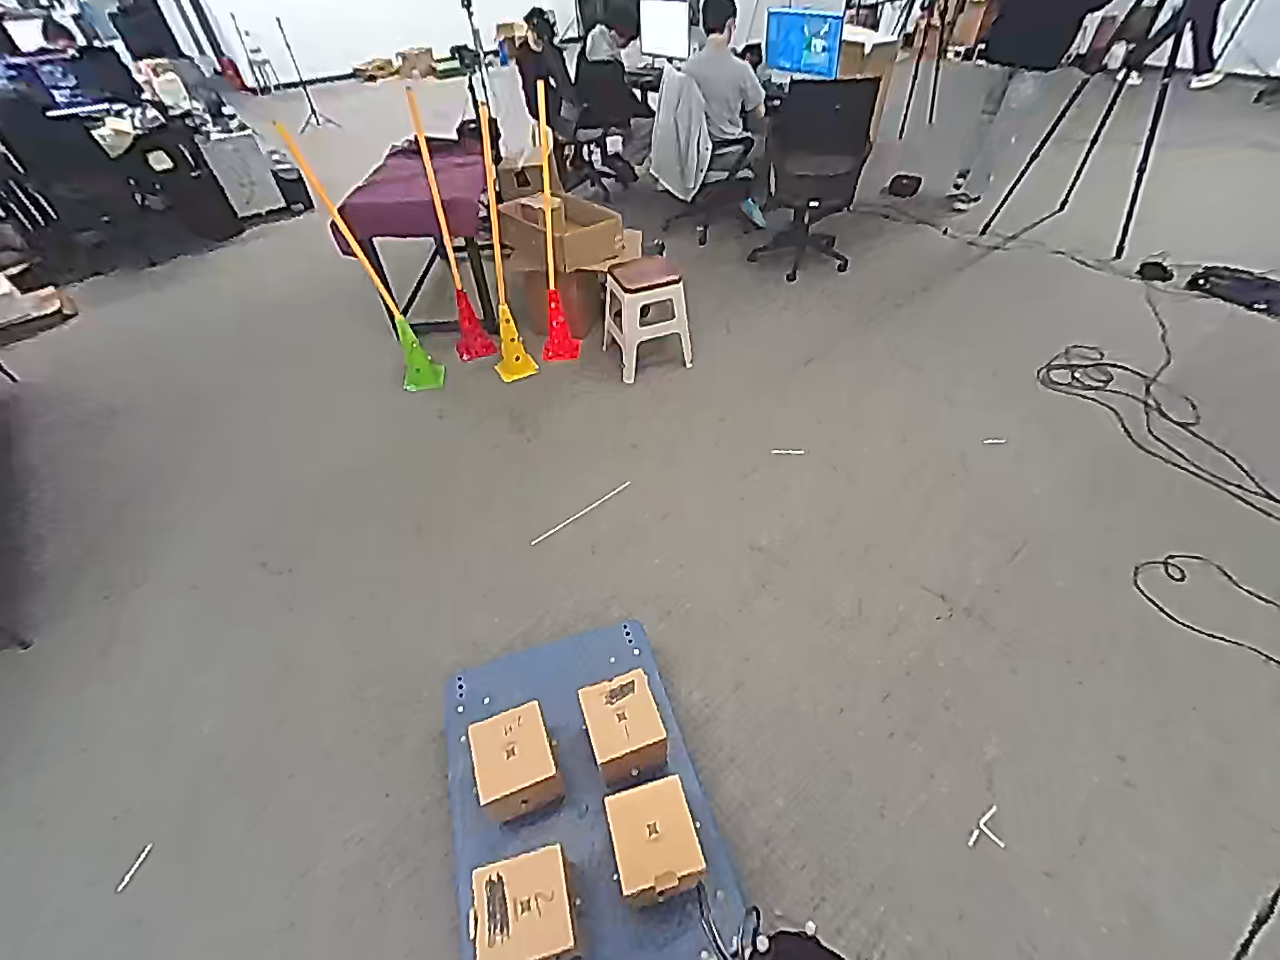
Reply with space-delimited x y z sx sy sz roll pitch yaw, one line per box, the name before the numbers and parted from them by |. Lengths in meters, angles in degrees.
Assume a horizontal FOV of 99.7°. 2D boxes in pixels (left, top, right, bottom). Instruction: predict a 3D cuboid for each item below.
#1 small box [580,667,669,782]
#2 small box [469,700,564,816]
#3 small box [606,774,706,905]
small box | -0.037 0.590 1.303 0.168 0.176 0.179 -17 47 -11
small box | -0.283 0.653 1.257 0.168 0.176 0.179 -17 47 -13
small box | 0.030 0.758 1.140 0.168 0.176 0.179 -13 47 -9
